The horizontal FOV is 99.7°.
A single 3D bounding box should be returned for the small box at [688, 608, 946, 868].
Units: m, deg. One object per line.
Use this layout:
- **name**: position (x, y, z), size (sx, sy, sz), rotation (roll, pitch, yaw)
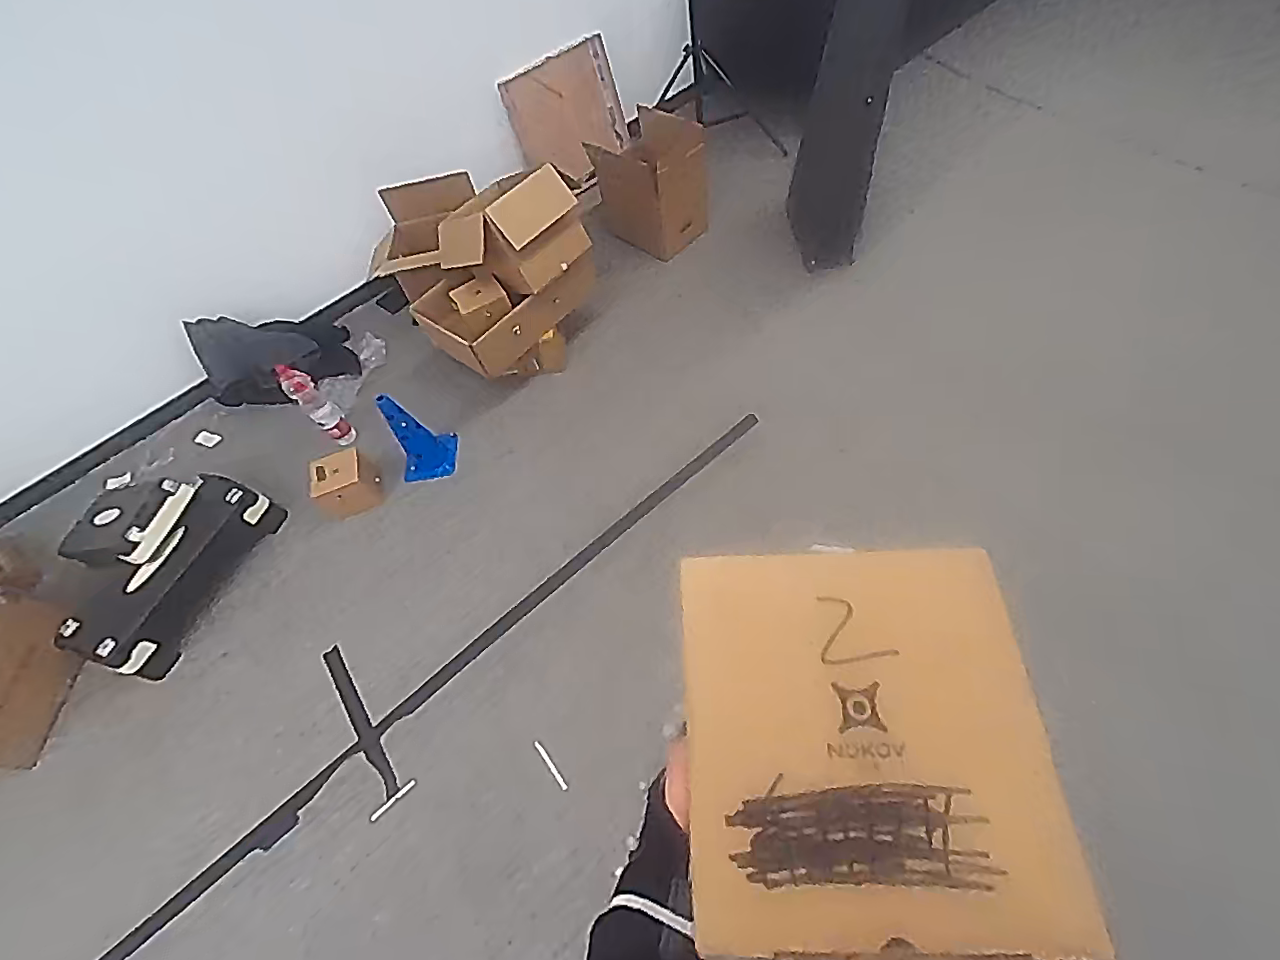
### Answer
- **small box**: position (0.129, 0.221, 0.474), size (0.168, 0.176, 0.179), rotation (-4, 63, 4)
